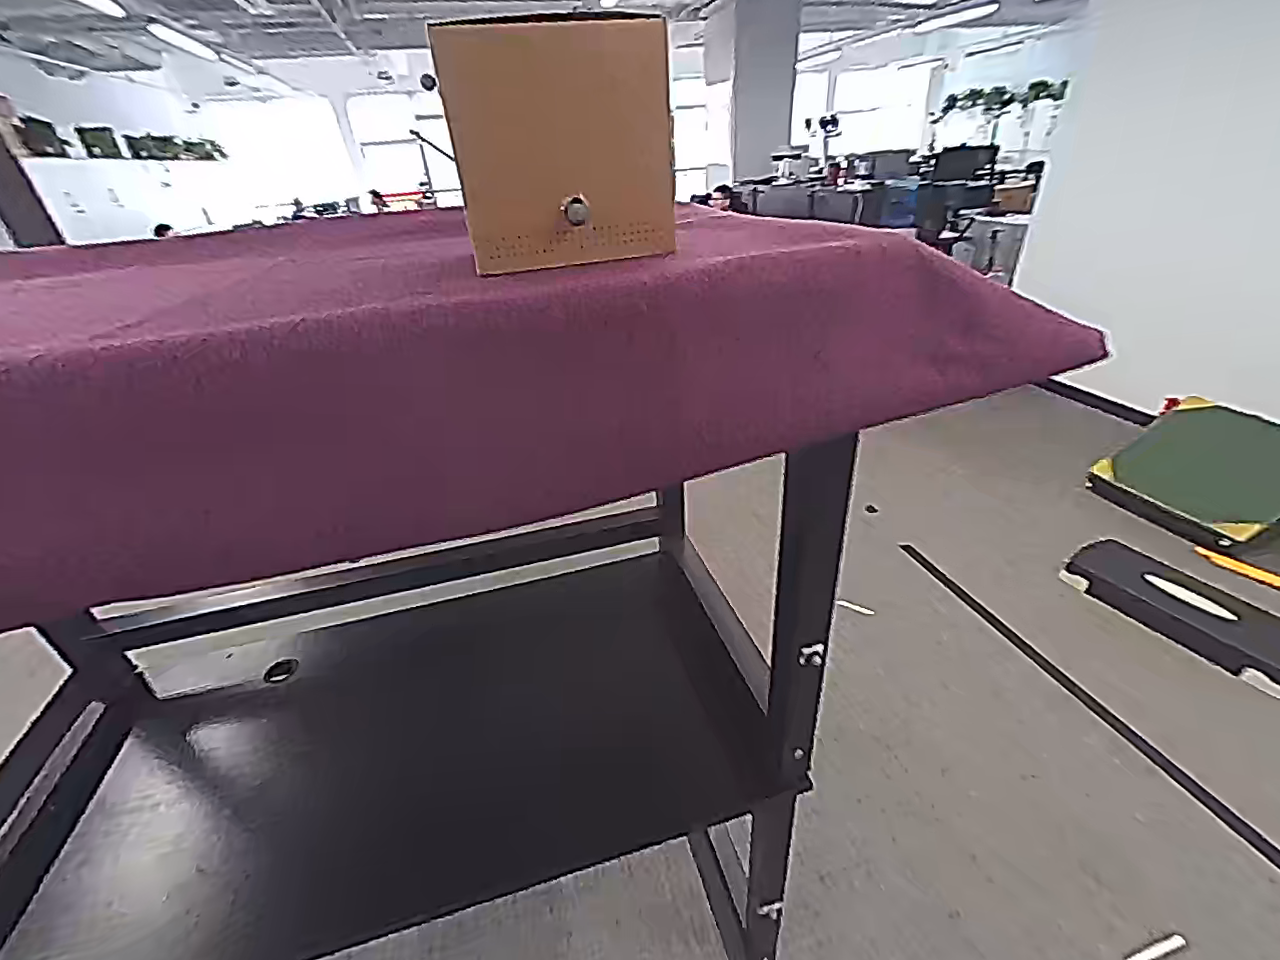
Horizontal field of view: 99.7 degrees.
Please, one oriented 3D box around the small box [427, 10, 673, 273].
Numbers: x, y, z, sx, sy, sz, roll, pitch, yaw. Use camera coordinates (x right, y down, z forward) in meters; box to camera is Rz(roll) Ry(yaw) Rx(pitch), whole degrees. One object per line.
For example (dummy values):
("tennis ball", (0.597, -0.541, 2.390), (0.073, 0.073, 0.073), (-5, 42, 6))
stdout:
("small box", (-0.076, -0.294, 0.487), (0.179, 0.176, 0.168), (-11, 31, -11))
